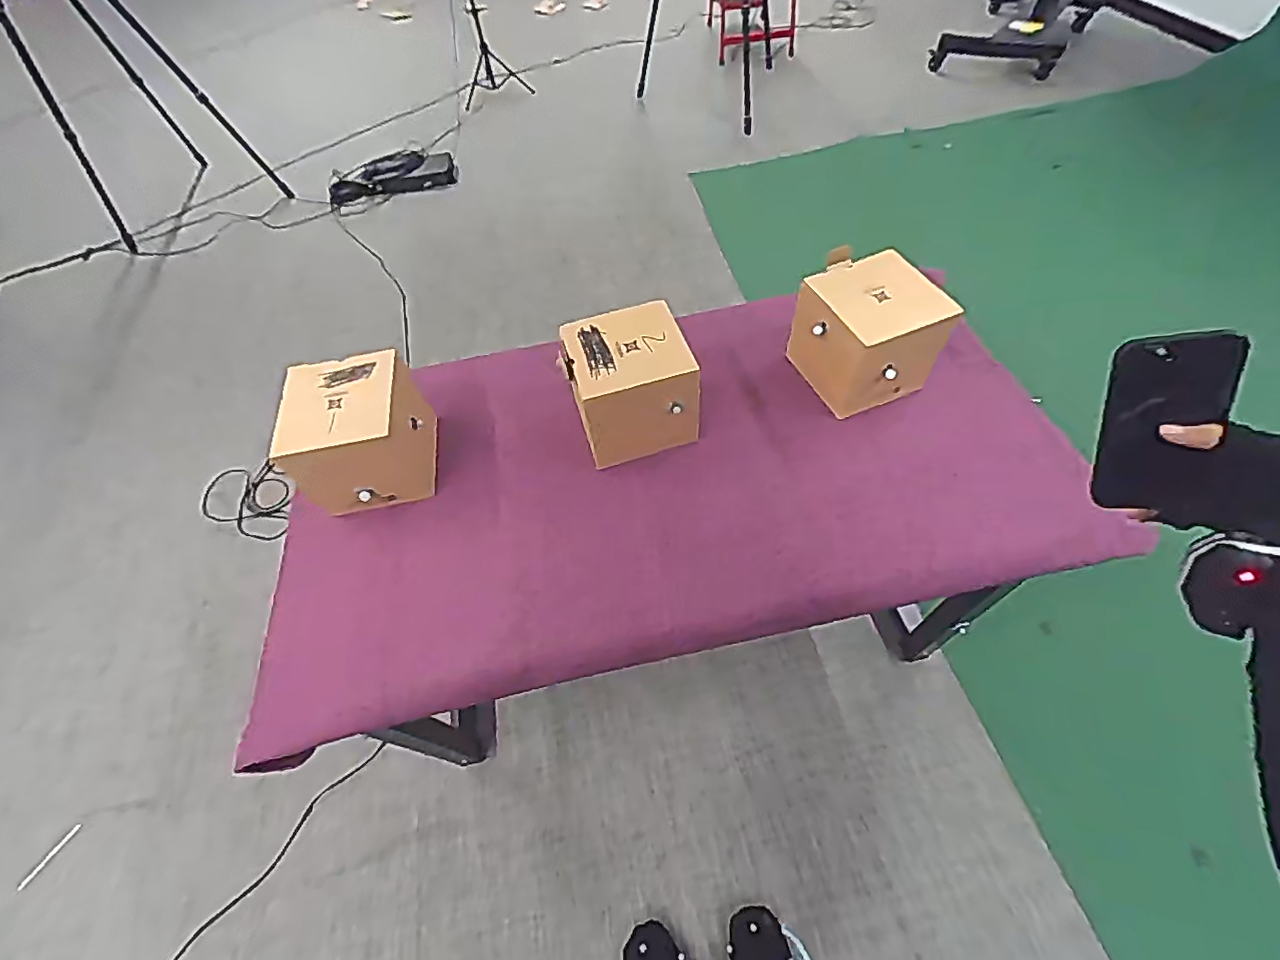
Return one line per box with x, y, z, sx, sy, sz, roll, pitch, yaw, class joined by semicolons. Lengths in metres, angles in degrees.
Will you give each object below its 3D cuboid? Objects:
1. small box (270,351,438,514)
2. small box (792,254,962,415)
-0.429;-0.071;0.845;0.168;0.176;0.179;-11;58;-2;small box
0.369;-0.228;0.881;0.168;0.176;0.179;-21;56;-8;small box
